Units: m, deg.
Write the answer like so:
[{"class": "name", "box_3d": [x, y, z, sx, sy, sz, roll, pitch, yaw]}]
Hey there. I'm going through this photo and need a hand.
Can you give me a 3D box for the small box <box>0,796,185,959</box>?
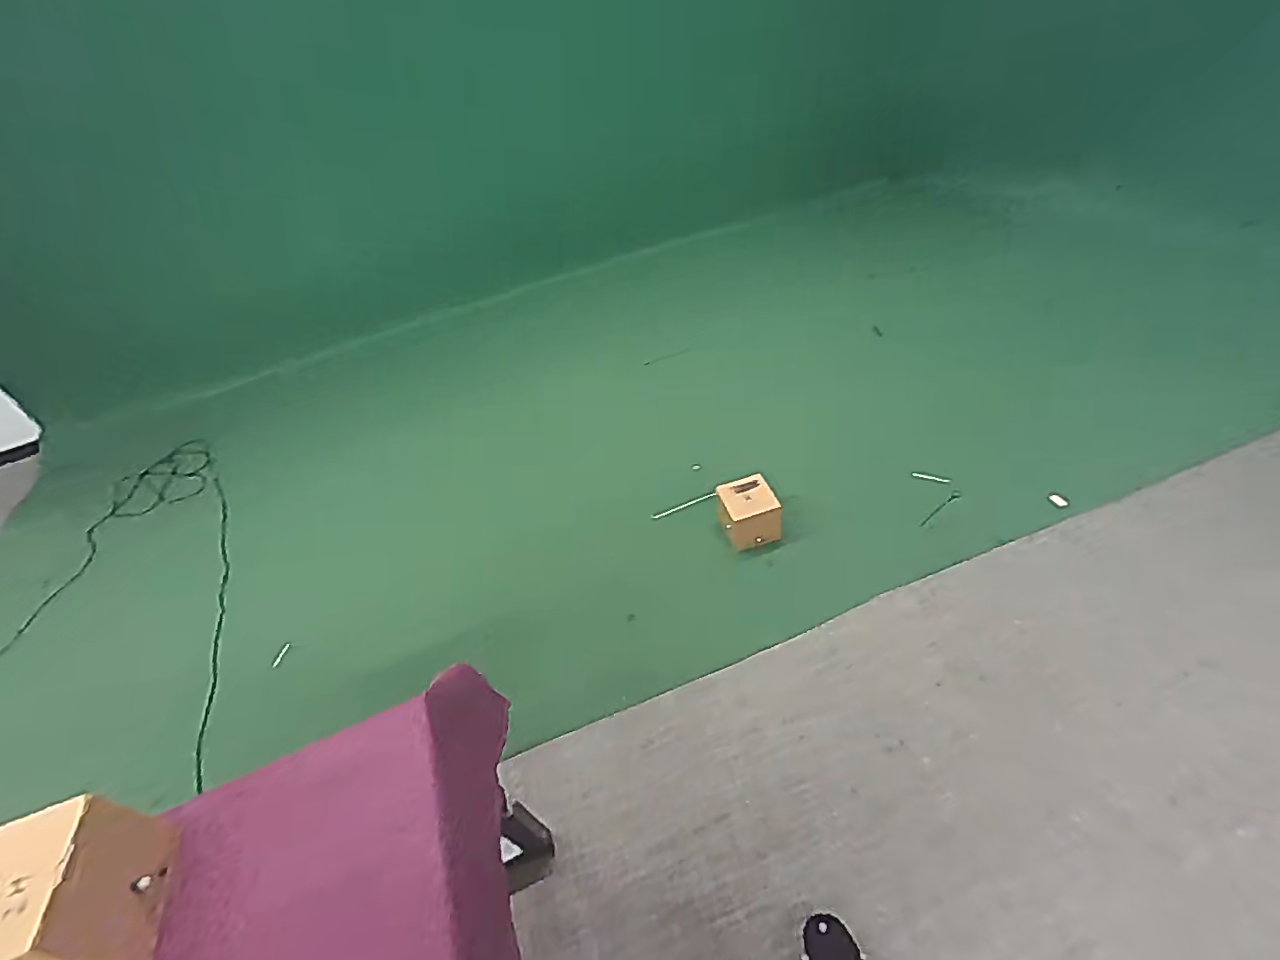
[{"class": "small box", "box_3d": [-0.727, 0.533, 0.665, 0.179, 0.176, 0.168, -19, 44, -9]}]
